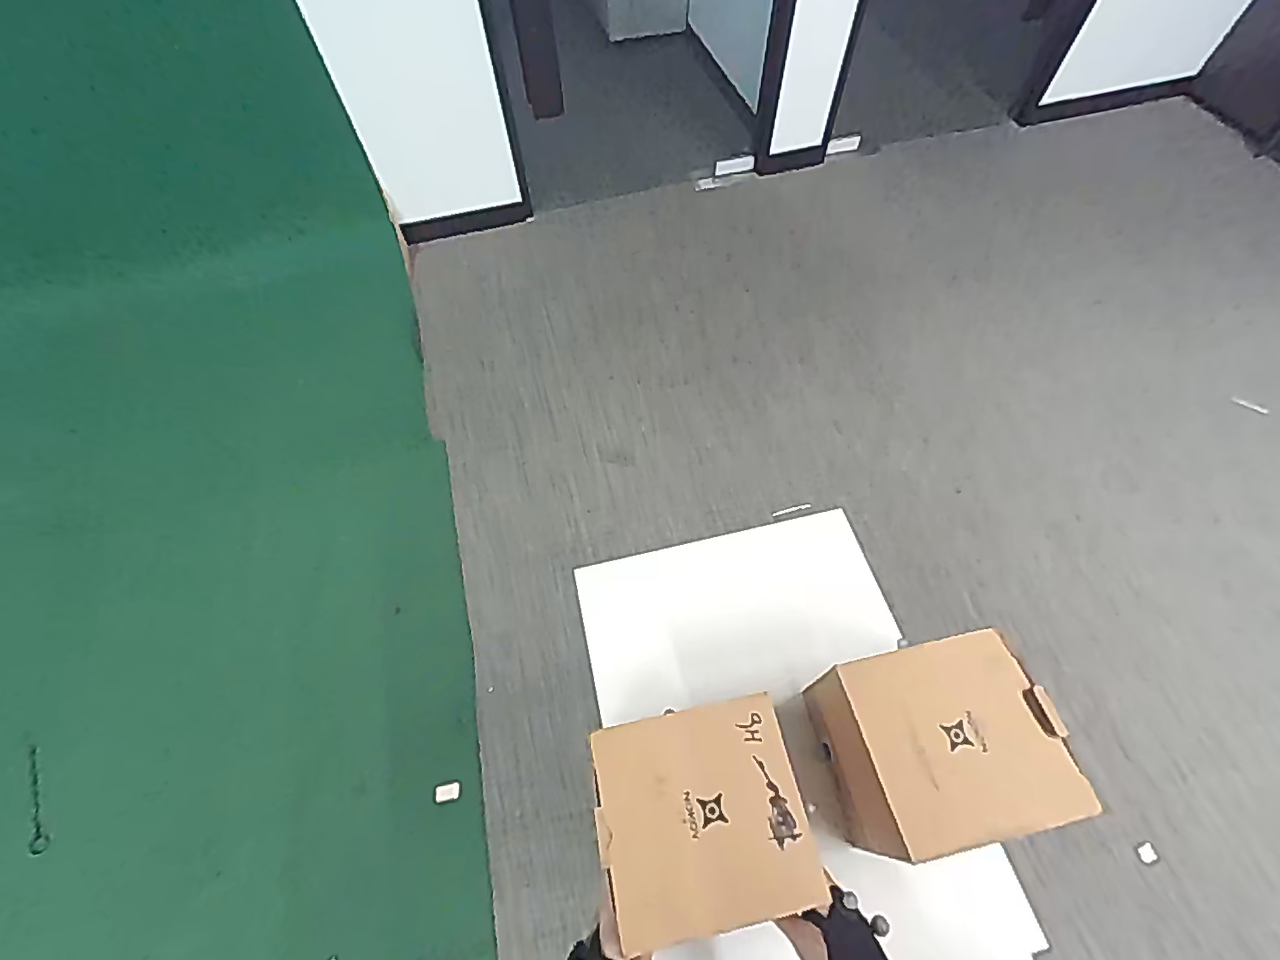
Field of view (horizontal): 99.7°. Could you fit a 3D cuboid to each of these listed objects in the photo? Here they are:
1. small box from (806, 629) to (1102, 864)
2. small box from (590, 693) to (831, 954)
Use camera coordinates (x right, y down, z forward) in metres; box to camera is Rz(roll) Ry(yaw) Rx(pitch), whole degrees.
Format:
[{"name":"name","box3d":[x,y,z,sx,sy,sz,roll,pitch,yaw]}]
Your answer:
[{"name":"small box","box3d":[0.295,0.270,0.557,0.179,0.176,0.168,-12,60,-3]},{"name":"small box","box3d":[0.056,0.323,0.531,0.179,0.176,0.168,-10,61,-5]}]
